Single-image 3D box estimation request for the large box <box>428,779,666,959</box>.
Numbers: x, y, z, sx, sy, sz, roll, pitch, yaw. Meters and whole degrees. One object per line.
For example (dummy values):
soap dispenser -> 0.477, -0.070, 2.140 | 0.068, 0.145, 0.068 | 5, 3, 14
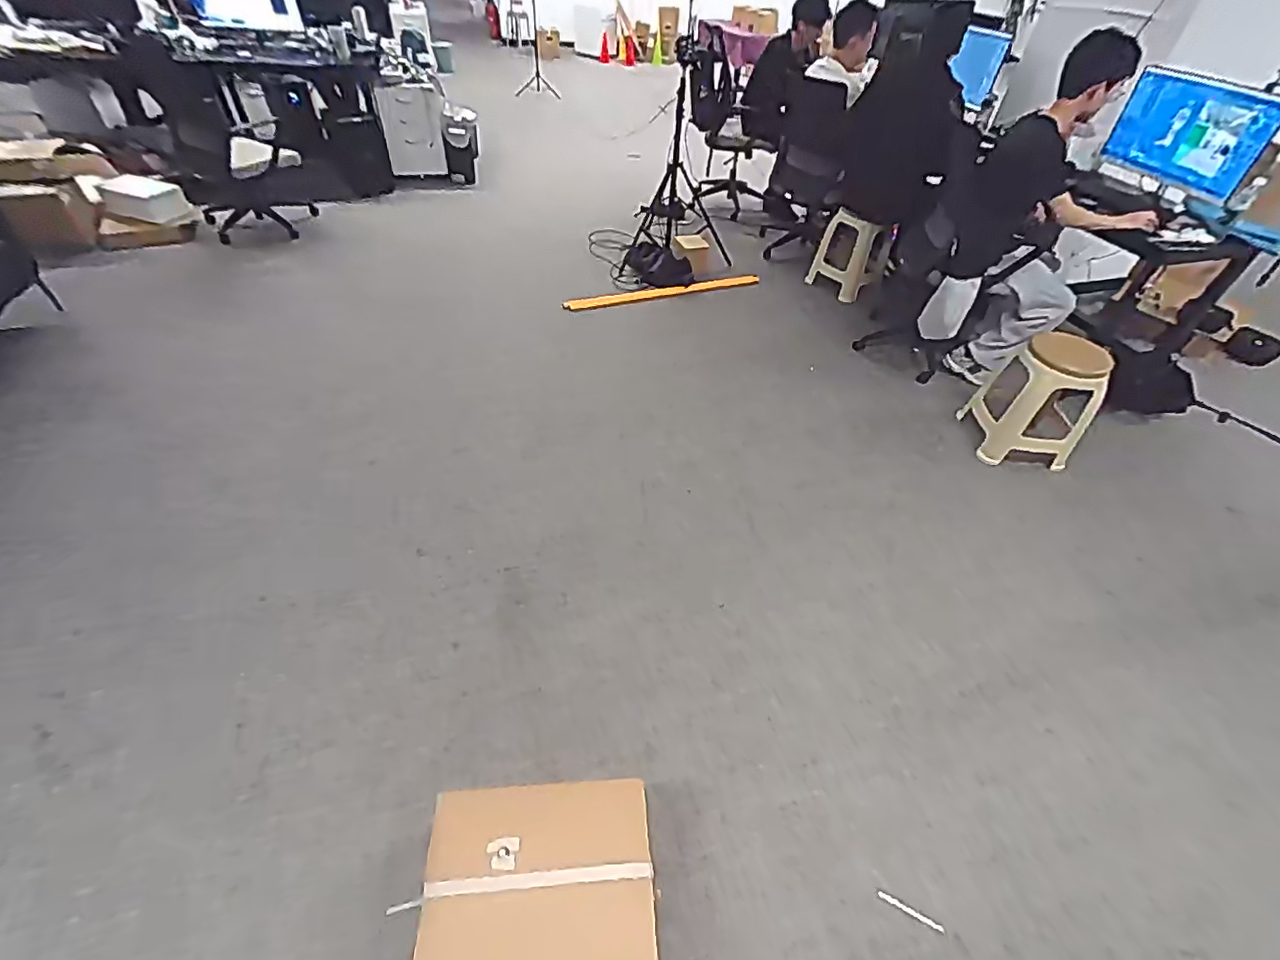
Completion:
large box -> -0.169, 0.831, 1.089 | 0.408, 0.320, 0.320 | -2, 46, -4
